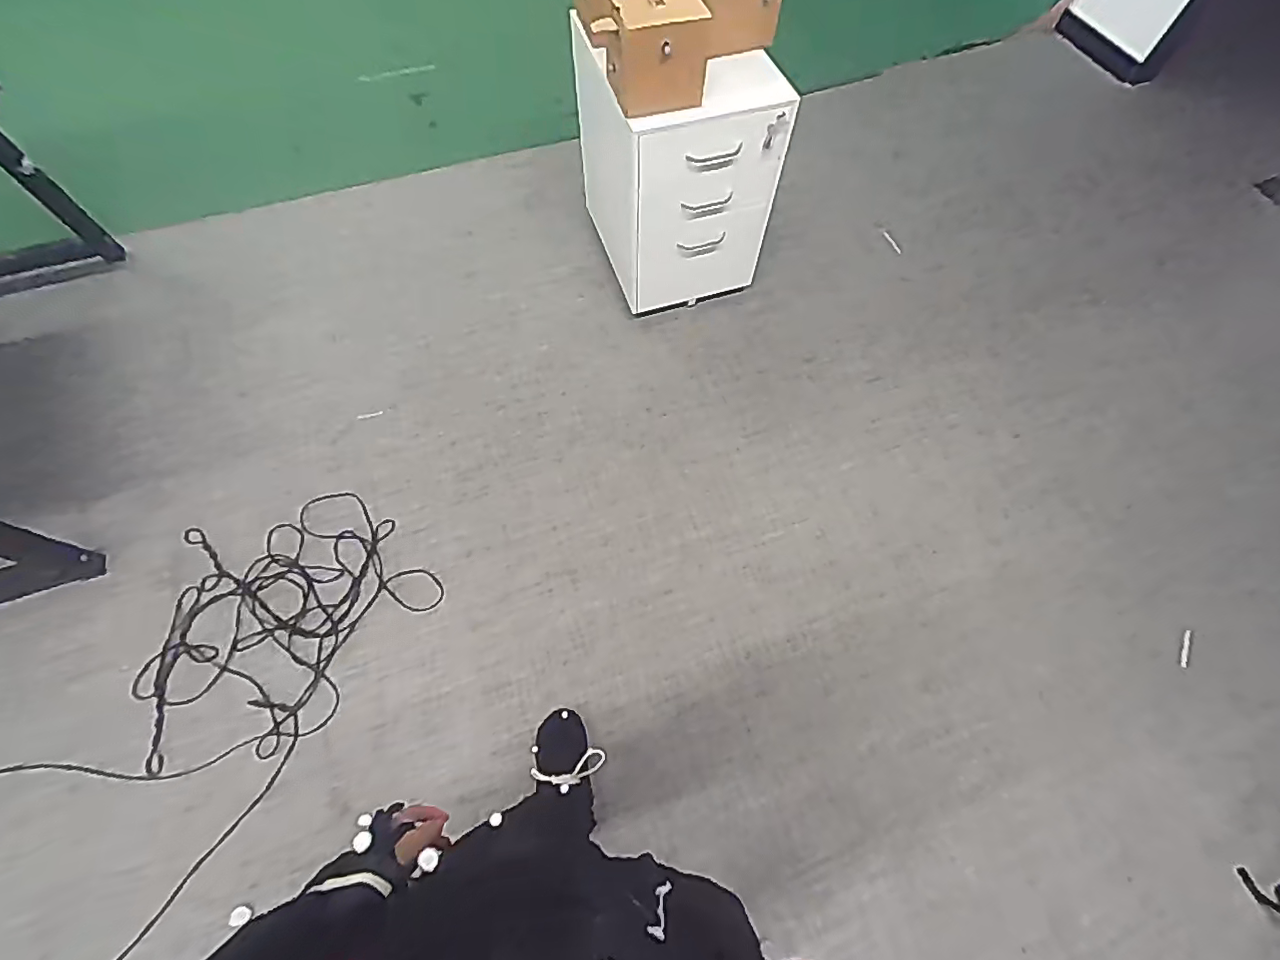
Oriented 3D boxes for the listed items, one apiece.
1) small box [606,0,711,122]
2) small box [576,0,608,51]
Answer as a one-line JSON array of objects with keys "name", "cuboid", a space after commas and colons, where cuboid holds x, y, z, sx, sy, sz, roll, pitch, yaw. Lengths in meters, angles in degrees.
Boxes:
[{"name": "small box", "cuboid": [0.032, -0.897, 1.141, 0.179, 0.176, 0.168, -16, 66, -8]}, {"name": "small box", "cuboid": [-0.052, -1.134, 1.254, 0.179, 0.176, 0.168, -15, 67, -10]}]
